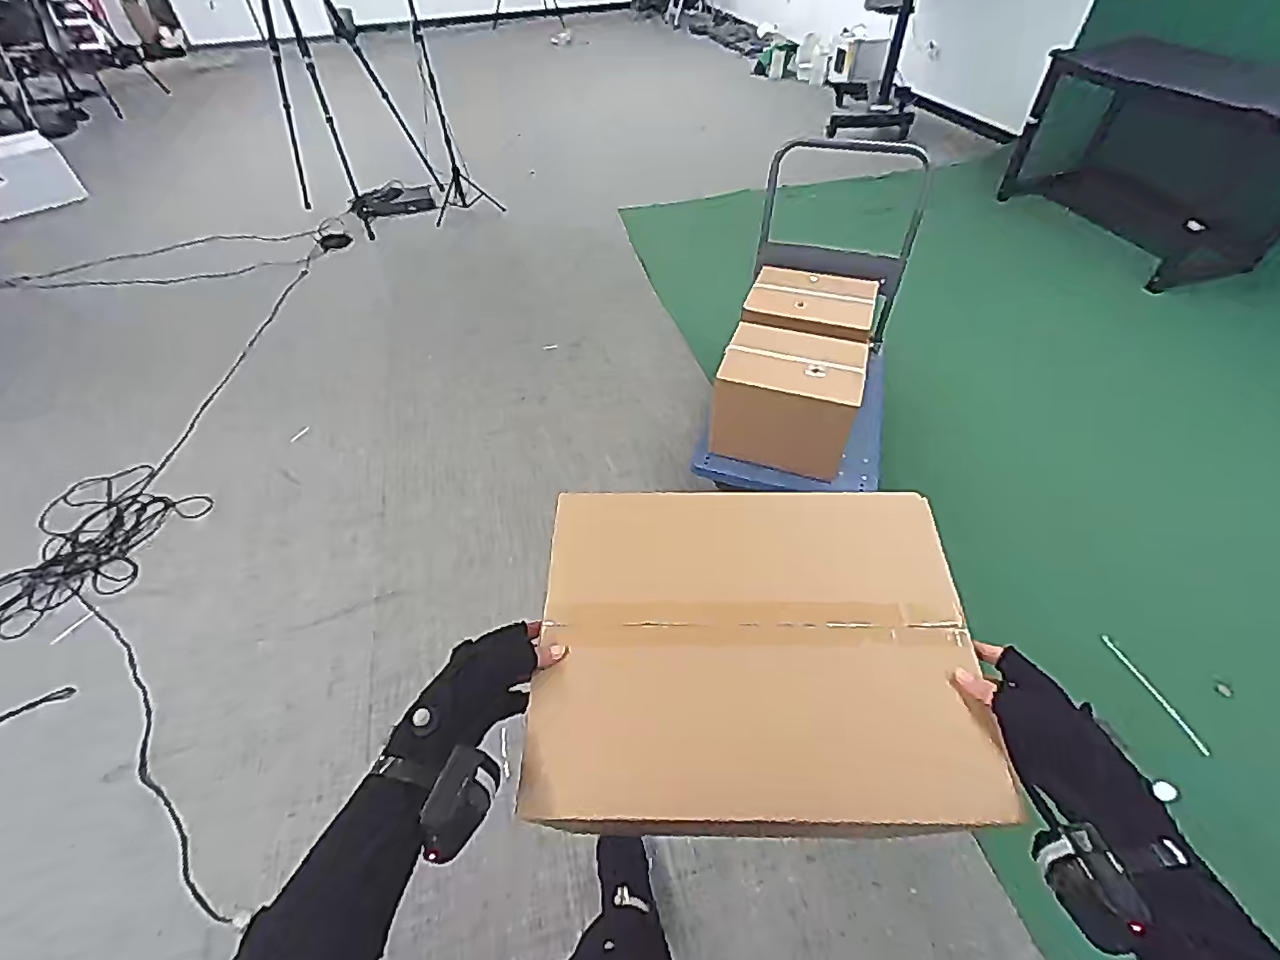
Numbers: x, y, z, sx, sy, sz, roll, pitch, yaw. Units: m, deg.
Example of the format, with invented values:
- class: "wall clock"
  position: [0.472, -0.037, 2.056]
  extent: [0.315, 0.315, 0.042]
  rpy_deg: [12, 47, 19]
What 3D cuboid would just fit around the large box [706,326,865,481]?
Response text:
- class: "large box"
  position: [0.449, -0.243, 1.707]
  extent: [0.408, 0.320, 0.320]
  rpy_deg: [15, 49, 14]
